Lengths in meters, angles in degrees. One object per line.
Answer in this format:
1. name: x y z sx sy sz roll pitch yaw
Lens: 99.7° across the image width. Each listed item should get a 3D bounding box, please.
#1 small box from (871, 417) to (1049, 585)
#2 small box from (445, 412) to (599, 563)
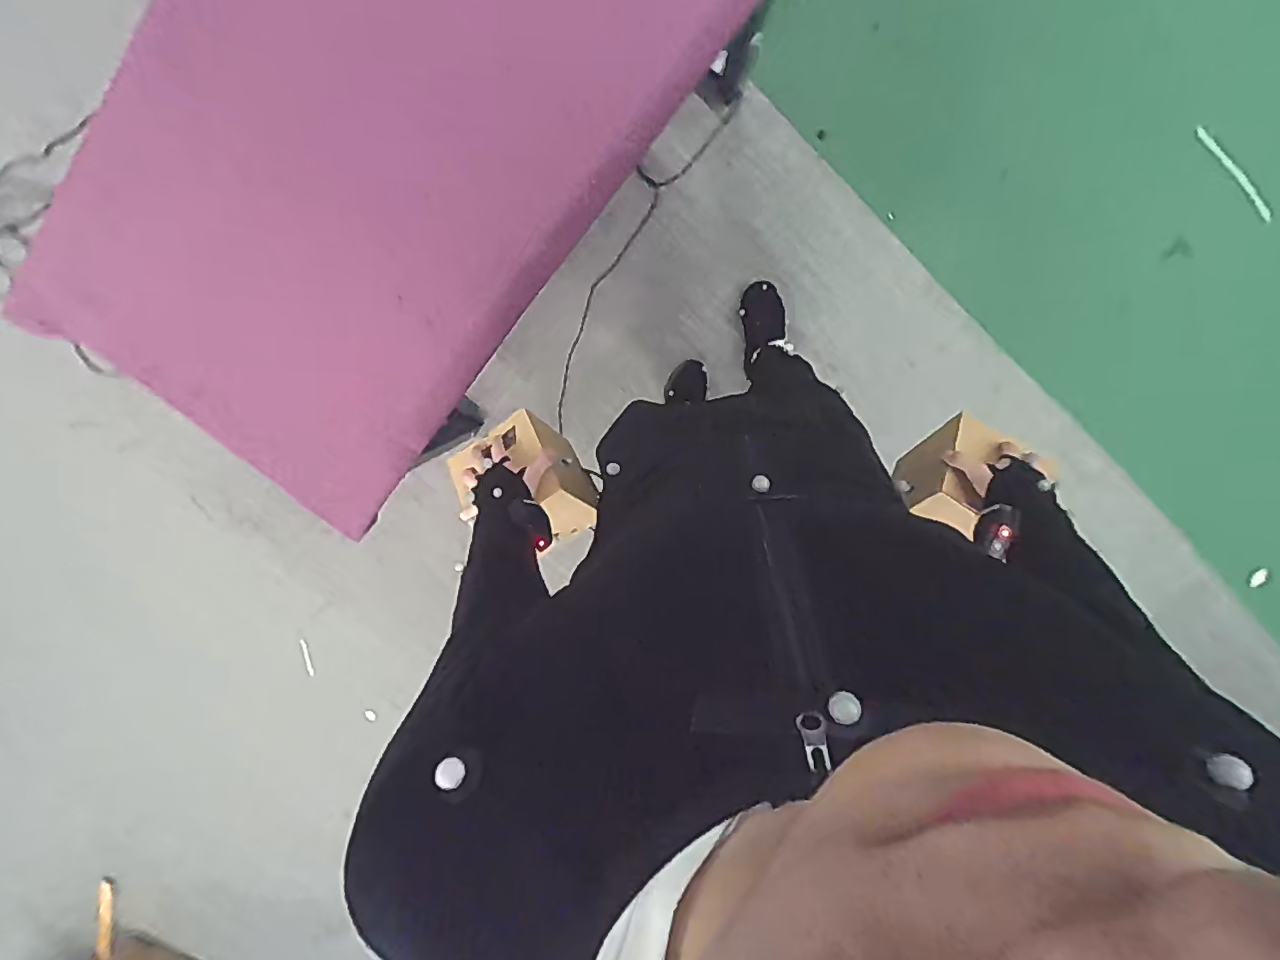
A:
1. small box: 0.497 0.041 0.857 0.168 0.176 0.179 32 60 4
2. small box: -0.197 0.021 0.931 0.168 0.176 0.179 -33 64 8
